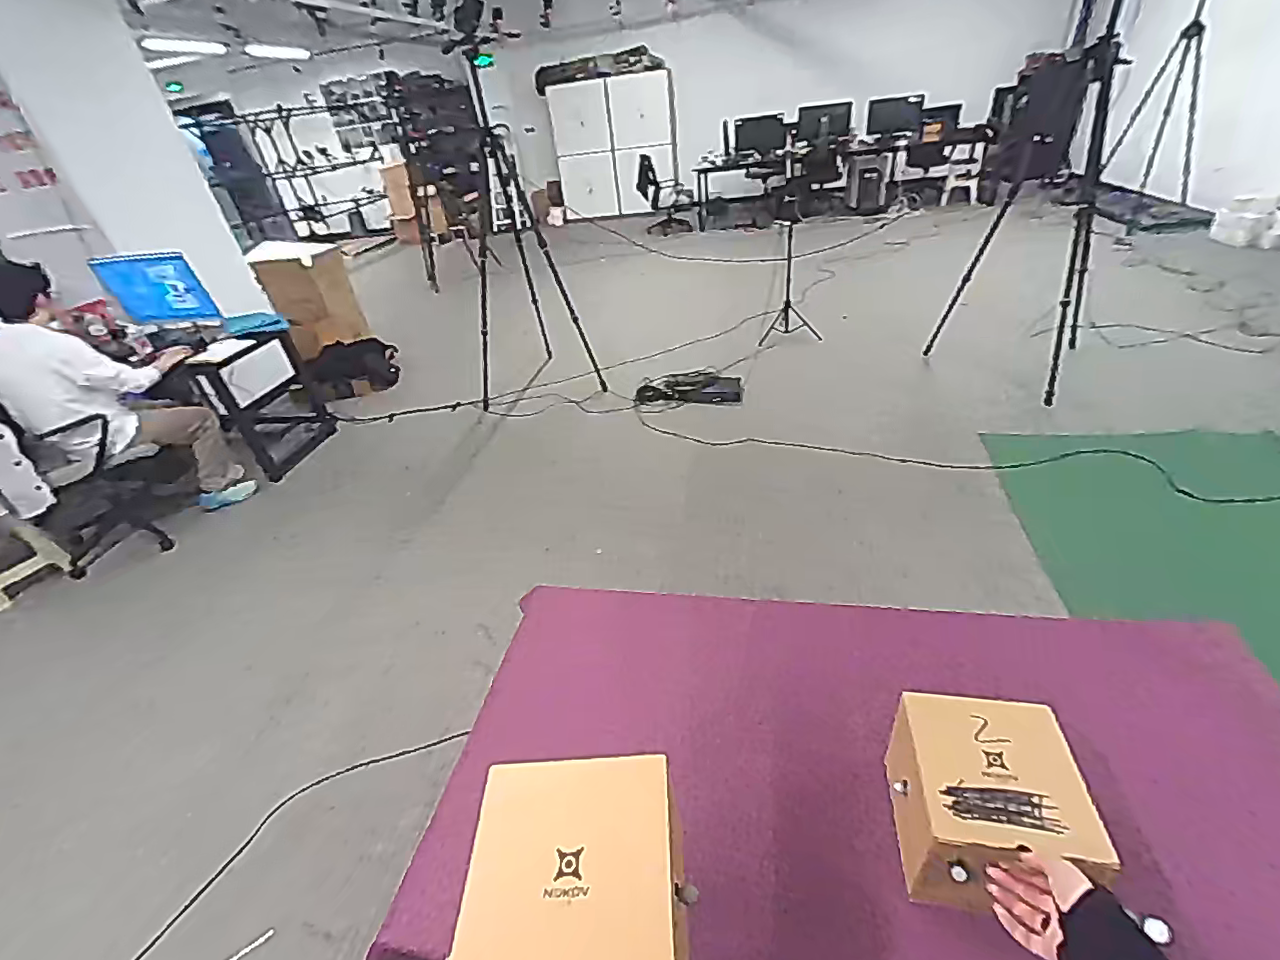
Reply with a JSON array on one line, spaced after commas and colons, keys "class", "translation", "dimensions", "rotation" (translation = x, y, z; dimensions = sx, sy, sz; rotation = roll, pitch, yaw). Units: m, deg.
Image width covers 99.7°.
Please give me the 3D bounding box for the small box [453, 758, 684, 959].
[{"class": "small box", "translation": [-0.049, 0.381, 0.489], "dimensions": [0.168, 0.176, 0.179], "rotation": [-6, 38, 4]}]
